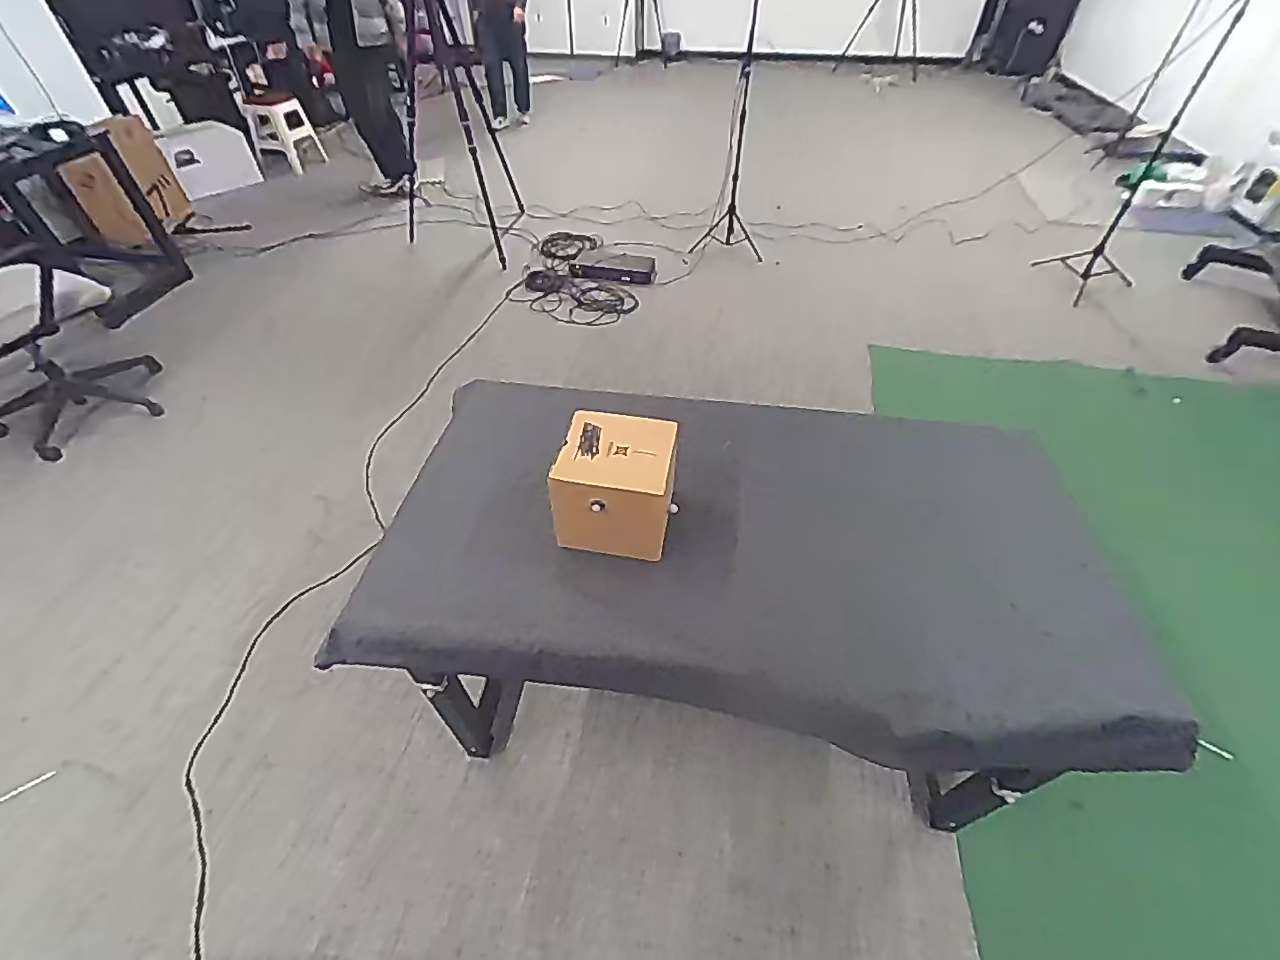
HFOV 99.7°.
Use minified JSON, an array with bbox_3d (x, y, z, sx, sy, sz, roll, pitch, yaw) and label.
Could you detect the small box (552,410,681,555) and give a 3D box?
[{"bbox_3d":[-0.033,0.007,0.902,0.179,0.176,0.168,8,47,7],"label":"small box"}]
